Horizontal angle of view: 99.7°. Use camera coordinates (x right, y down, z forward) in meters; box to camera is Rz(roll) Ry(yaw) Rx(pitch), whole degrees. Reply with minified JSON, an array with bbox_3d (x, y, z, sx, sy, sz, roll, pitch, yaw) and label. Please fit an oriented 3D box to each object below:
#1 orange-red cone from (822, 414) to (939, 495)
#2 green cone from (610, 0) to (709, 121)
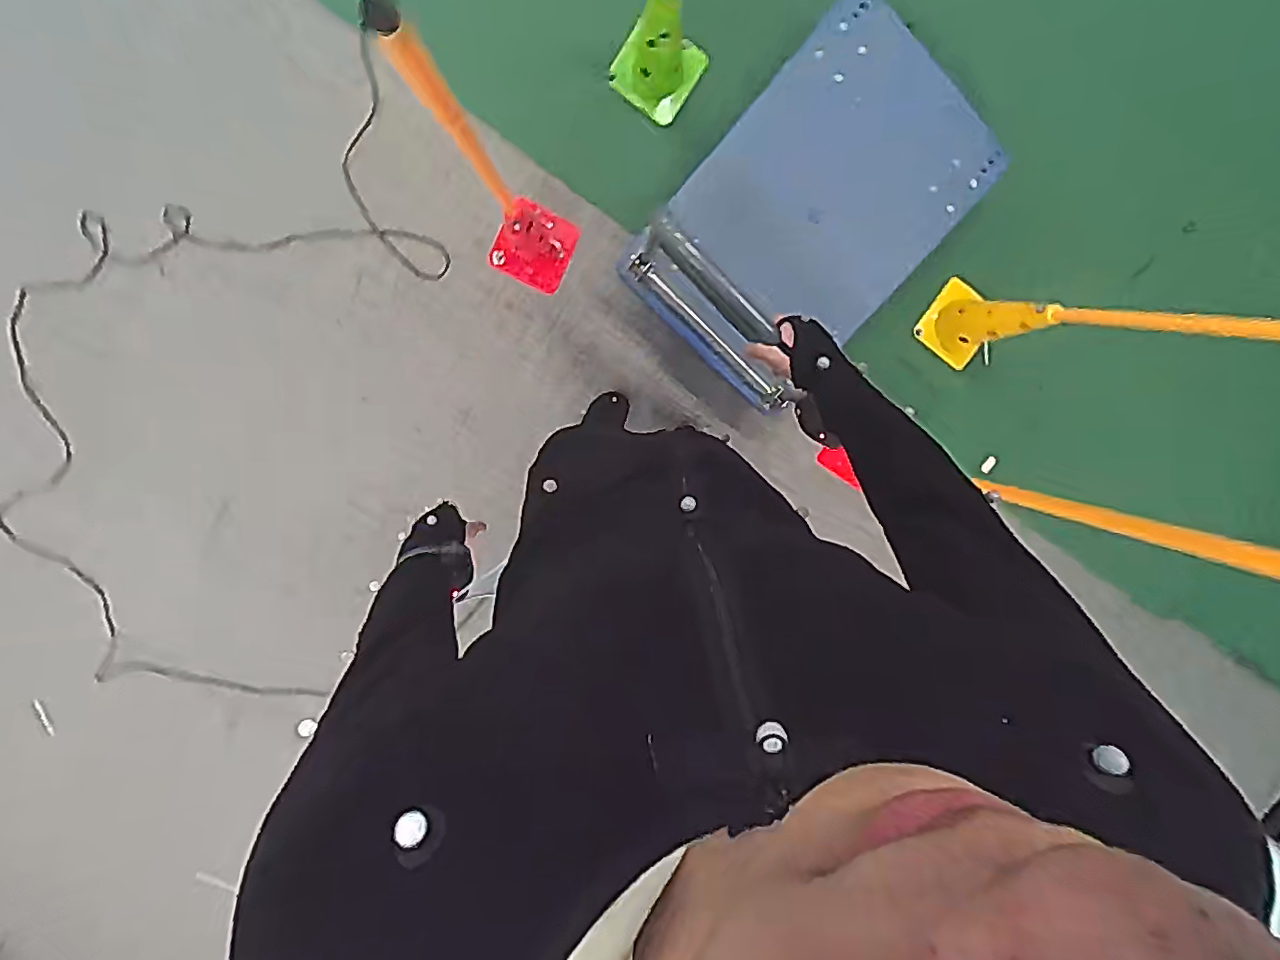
[{"bbox_3d":[0.682,-0.044,1.461,0.198,0.360,0.199,33,96,-10],"label":"orange-red cone"},{"bbox_3d":[0.060,-1.028,1.218,0.200,0.368,0.202,33,97,-8],"label":"green cone"}]
